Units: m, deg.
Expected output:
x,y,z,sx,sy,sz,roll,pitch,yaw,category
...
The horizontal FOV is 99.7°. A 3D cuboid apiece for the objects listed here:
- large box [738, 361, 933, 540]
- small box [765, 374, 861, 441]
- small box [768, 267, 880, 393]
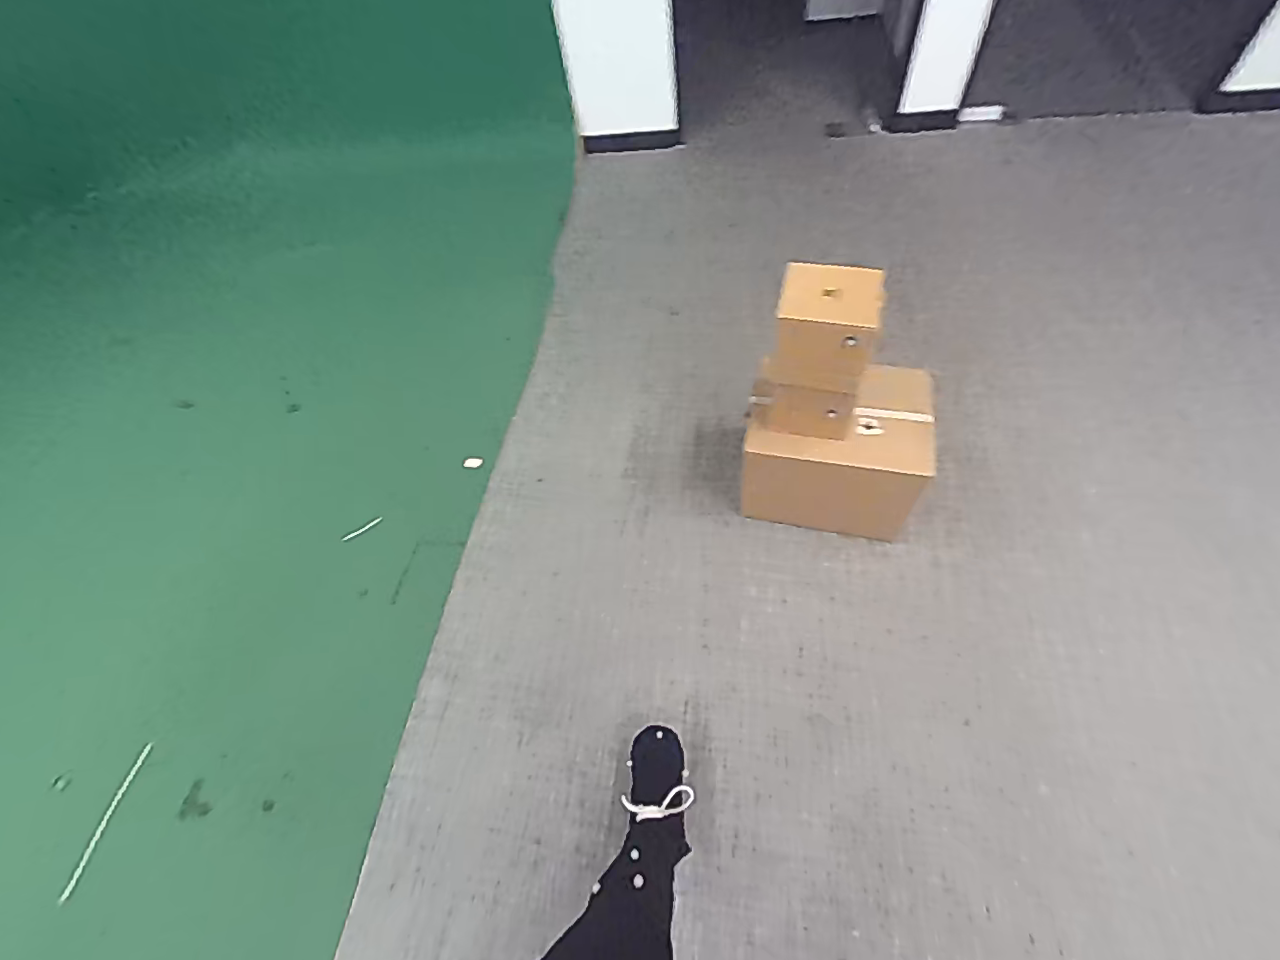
x,y,z,sx,sy,sz,roll,pitch,yaw,category
0.475,-0.072,1.382,0.408,0.320,0.320,9,60,12,large box
0.378,-0.204,1.190,0.179,0.176,0.168,8,57,14,small box
0.352,-0.289,1.053,0.179,0.176,0.168,10,58,13,small box
